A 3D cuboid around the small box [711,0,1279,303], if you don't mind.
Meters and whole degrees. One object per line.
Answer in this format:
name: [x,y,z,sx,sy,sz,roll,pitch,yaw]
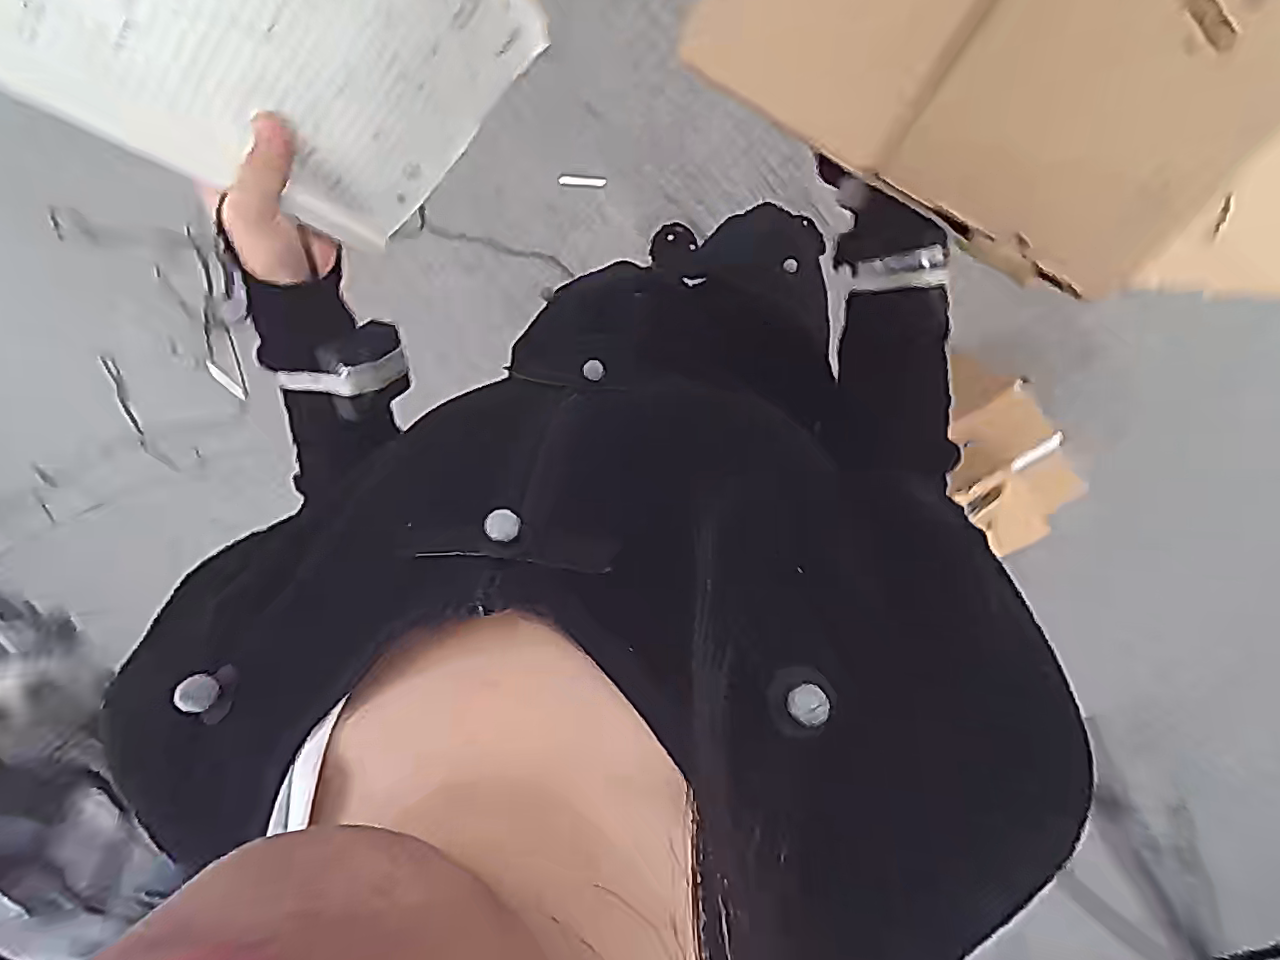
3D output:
small box: [0.149,-0.205,0.209,0.168,0.176,0.179,5,133,-31]
